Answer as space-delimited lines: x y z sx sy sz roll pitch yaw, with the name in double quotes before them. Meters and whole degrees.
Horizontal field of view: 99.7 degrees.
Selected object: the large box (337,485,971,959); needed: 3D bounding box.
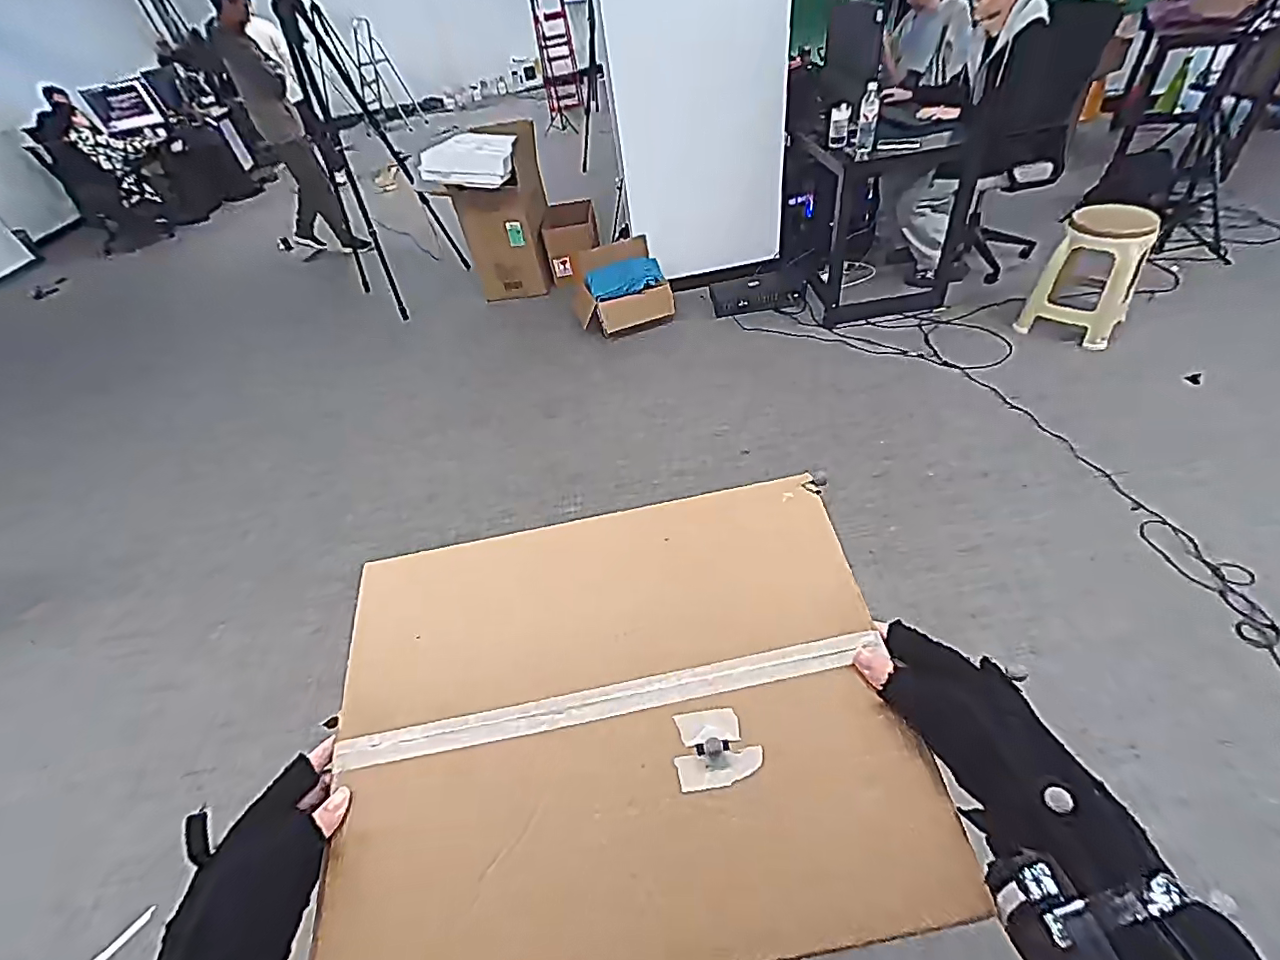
"large box" -0.002 0.251 0.529 0.408 0.320 0.320 -12 56 -1
